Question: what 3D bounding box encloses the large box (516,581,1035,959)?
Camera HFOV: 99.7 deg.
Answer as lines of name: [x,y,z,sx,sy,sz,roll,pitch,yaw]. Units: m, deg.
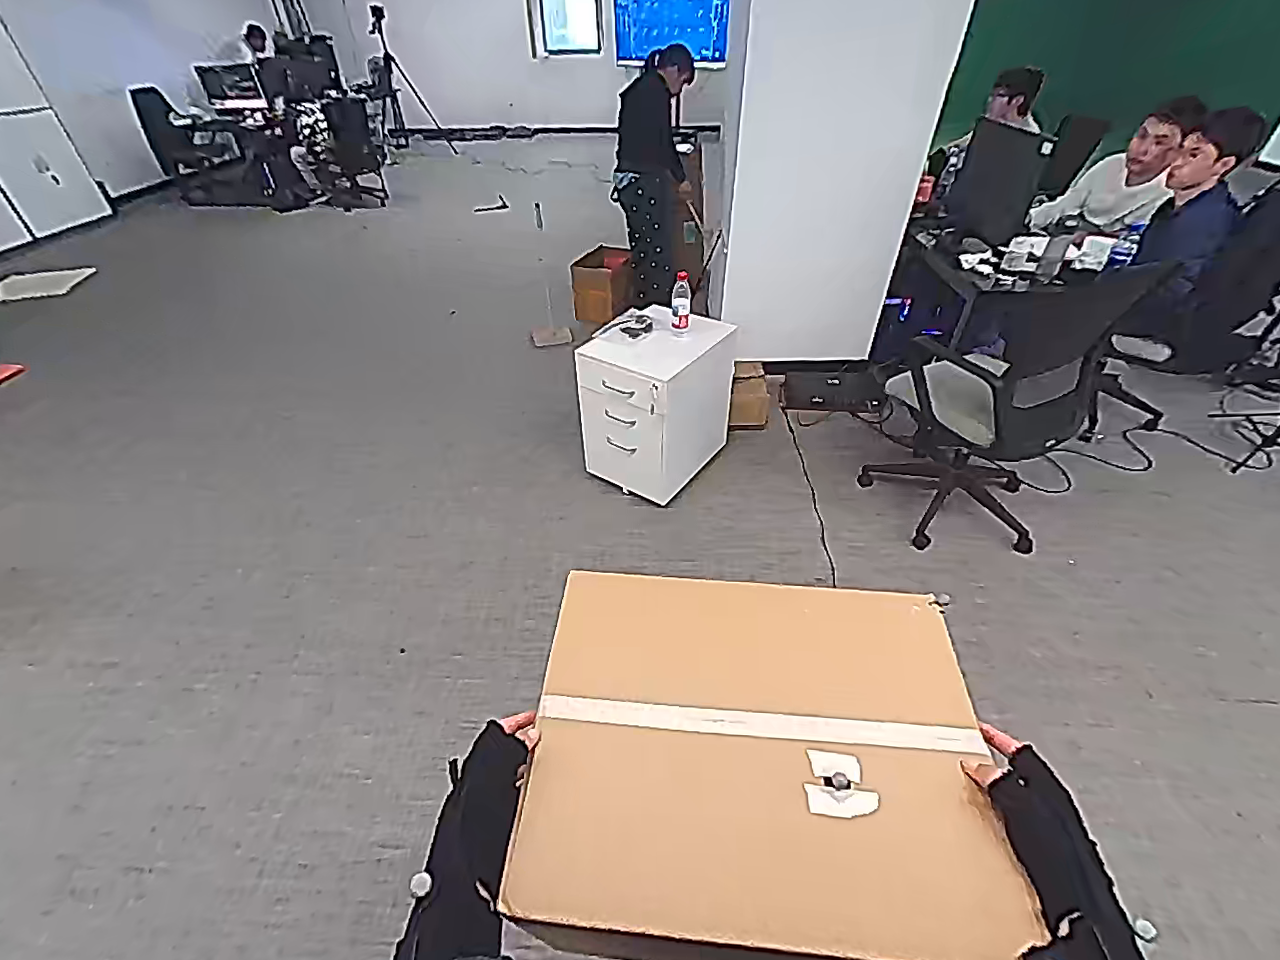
large box: [0.110,0.339,0.620,0.408,0.320,0.320,3,46,5]
